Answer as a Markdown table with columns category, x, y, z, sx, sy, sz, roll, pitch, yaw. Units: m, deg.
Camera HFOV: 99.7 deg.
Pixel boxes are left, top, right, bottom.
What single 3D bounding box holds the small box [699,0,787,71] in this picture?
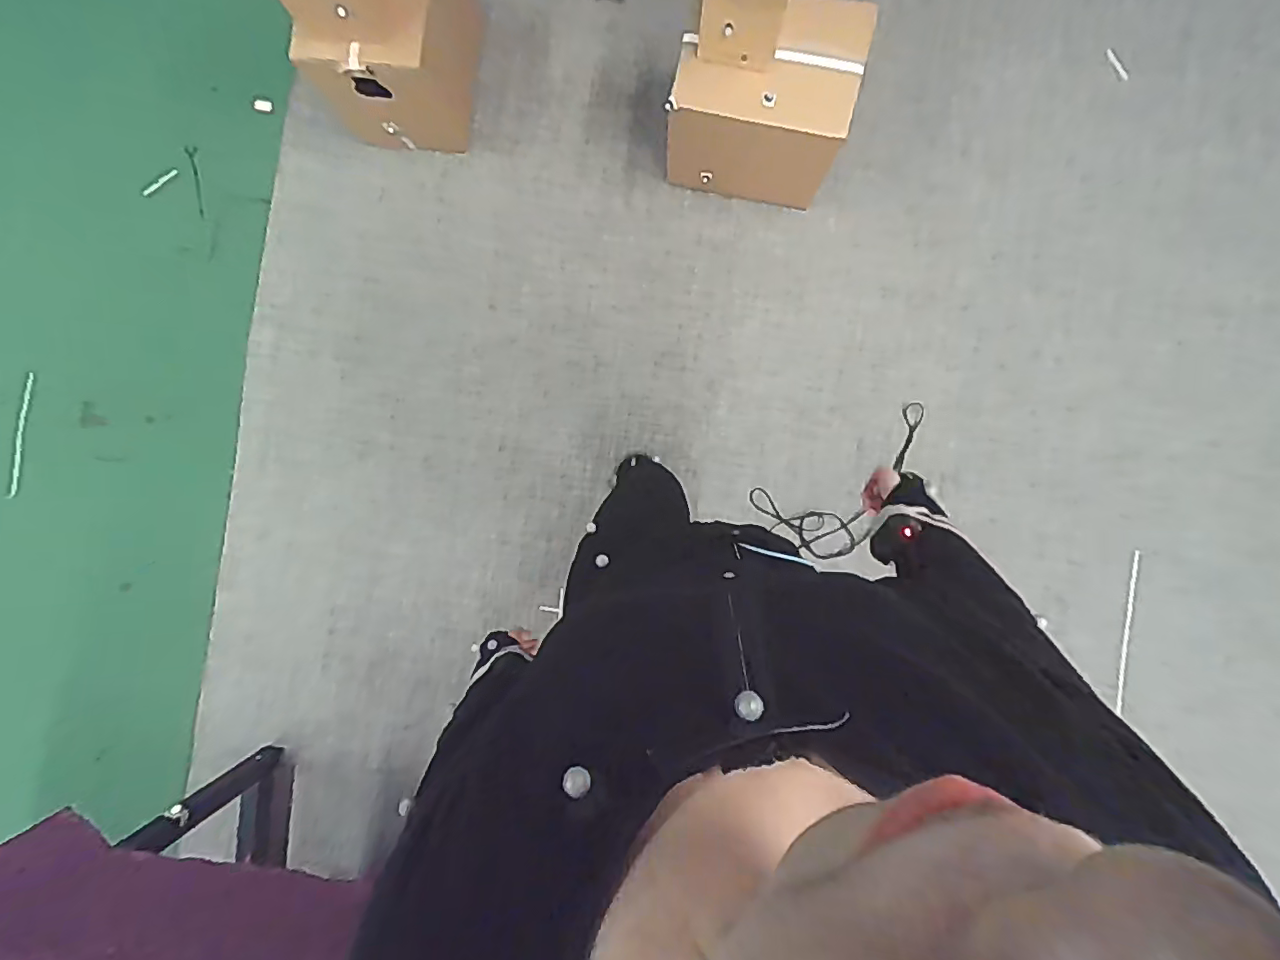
| category | x | y | z | sx | sy | sz | roll | pitch | yaw |
| --- | --- | --- | --- | --- | --- | --- | --- | --- | --- |
| small box | 0.221 | -0.999 | 1.117 | 0.168 | 0.176 | 0.179 | 13 | 87 | 2 |

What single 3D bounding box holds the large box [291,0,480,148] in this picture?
| category | x | y | z | sx | sy | sz | roll | pitch | yaw |
| --- | --- | --- | --- | --- | --- | --- | --- | --- | --- |
| large box | -0.631 | -1.149 | 1.397 | 0.320 | 0.320 | 0.408 | 7 | 88 | 2 |
